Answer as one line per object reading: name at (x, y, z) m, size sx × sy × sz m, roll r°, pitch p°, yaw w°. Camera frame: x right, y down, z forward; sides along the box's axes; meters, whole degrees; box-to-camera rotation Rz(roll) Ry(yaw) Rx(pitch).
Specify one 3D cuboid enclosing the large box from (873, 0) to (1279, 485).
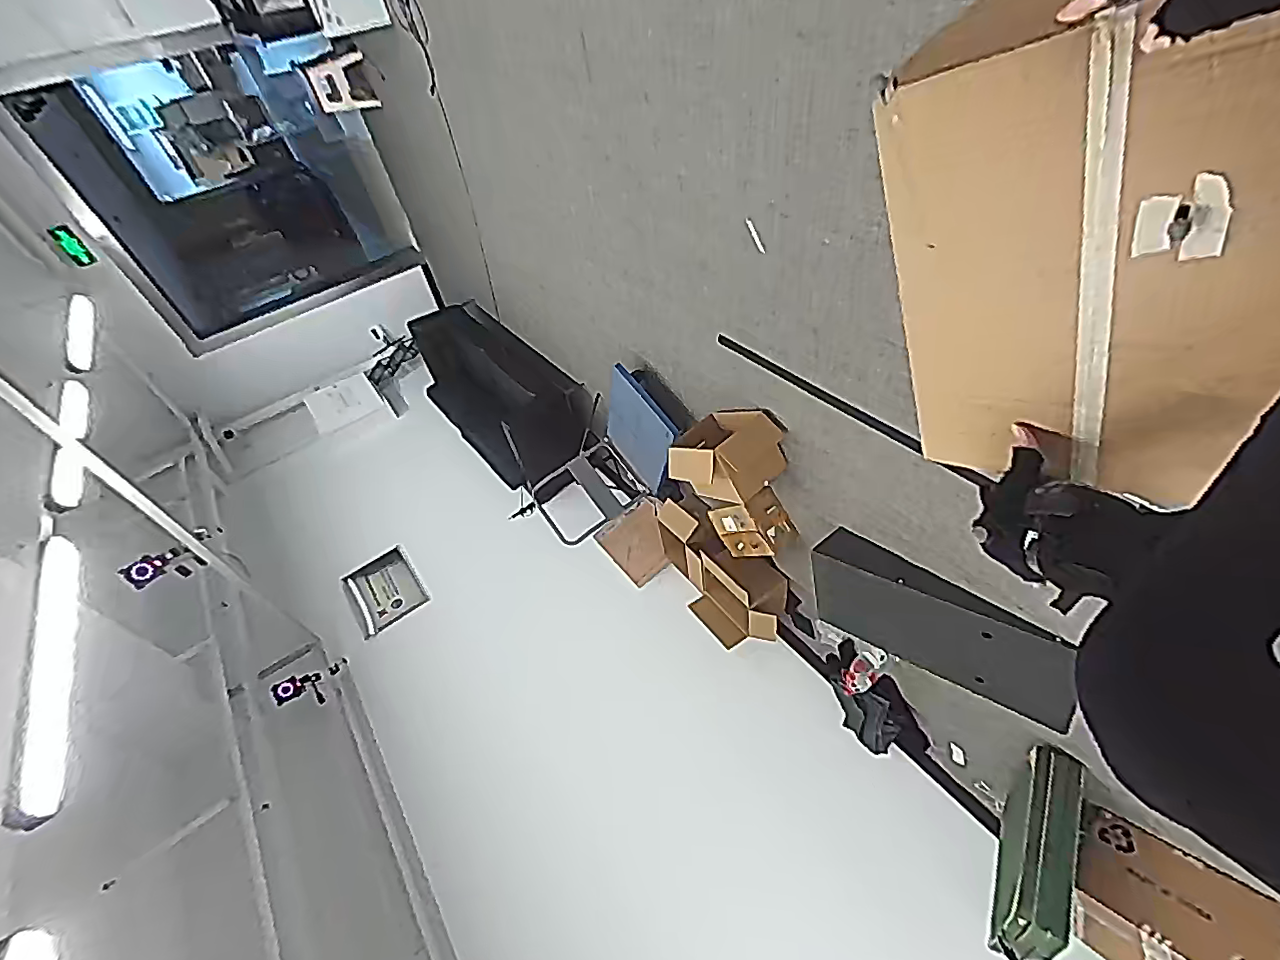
large box at (0.466, -0.263, 0.497) m, size 0.320 × 0.320 × 0.408 m, roll 16°, pitch 143°, yaw 46°
